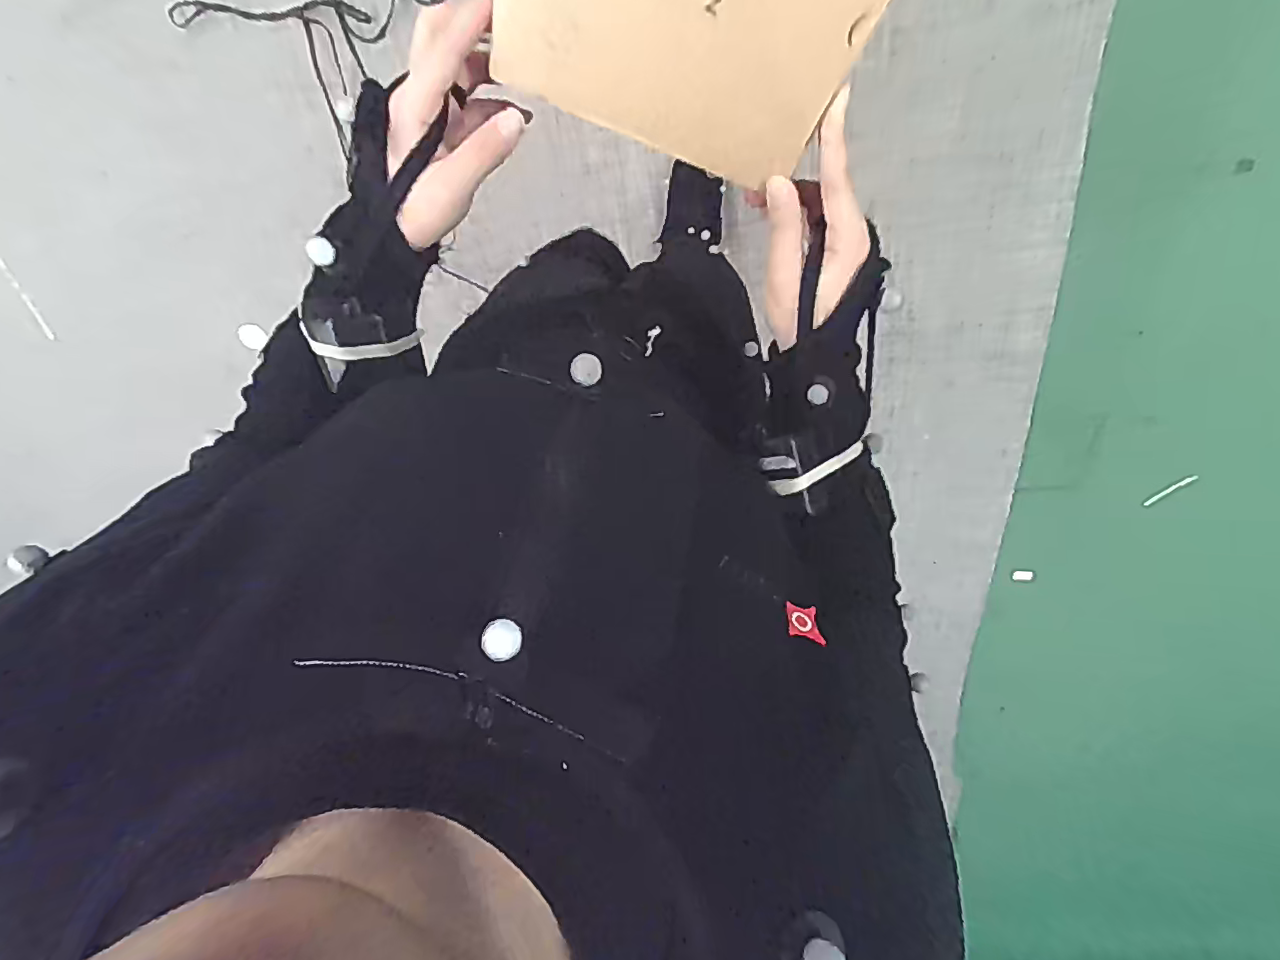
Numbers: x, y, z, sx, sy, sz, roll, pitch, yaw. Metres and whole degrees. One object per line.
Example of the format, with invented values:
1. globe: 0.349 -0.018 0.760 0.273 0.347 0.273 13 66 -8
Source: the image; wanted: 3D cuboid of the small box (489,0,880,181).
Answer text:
1. small box: 0.038 -0.302 0.280 0.179 0.176 0.168 17 145 -9
